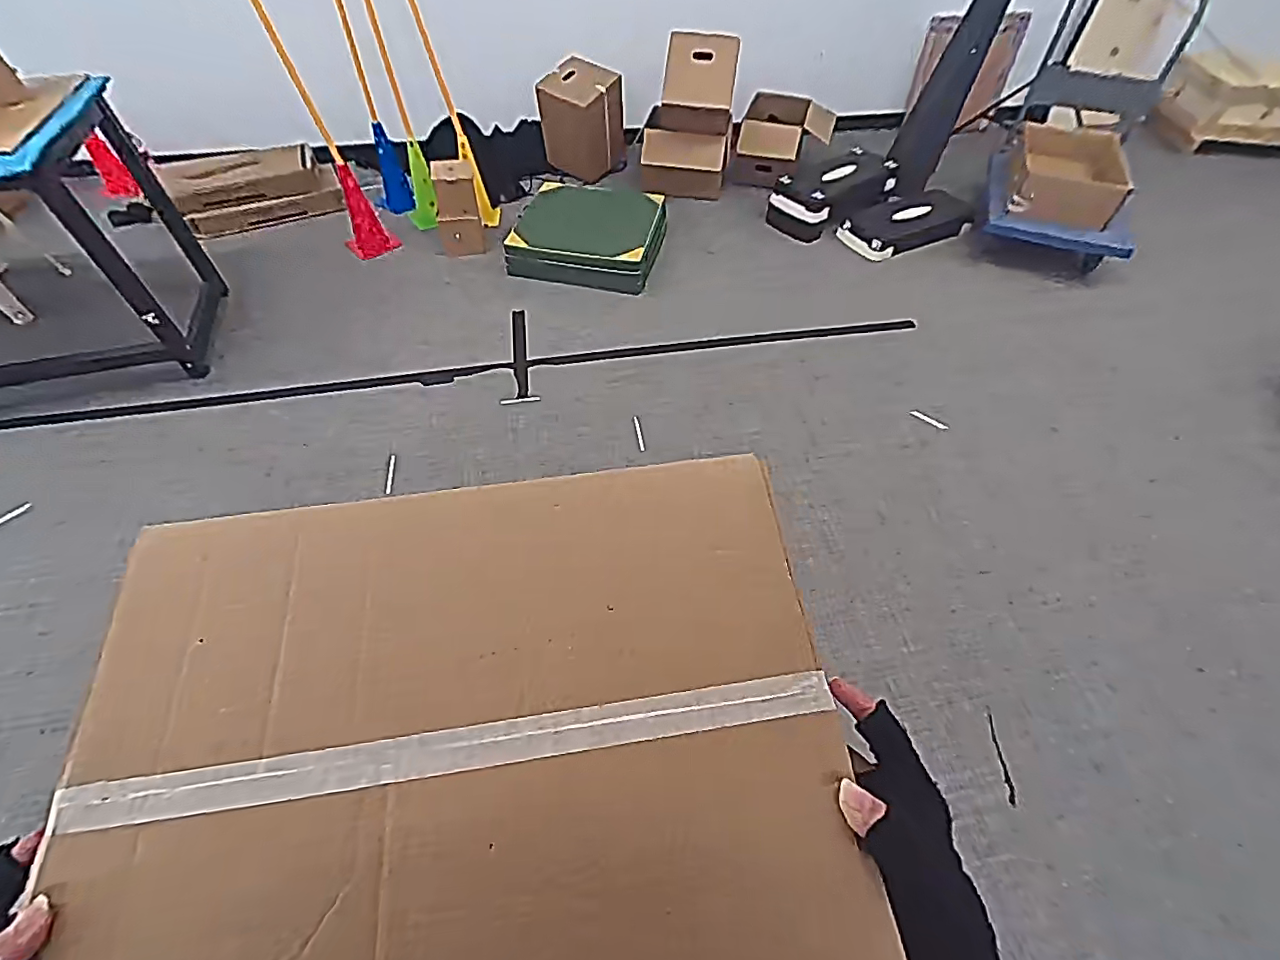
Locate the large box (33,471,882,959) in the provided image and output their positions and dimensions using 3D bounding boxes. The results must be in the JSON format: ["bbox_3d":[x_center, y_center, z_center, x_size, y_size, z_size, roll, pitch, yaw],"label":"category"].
[{"bbox_3d":[-0.097,0.221,0.431,0.408,0.320,0.320,-7,61,-4],"label":"large box"}]
